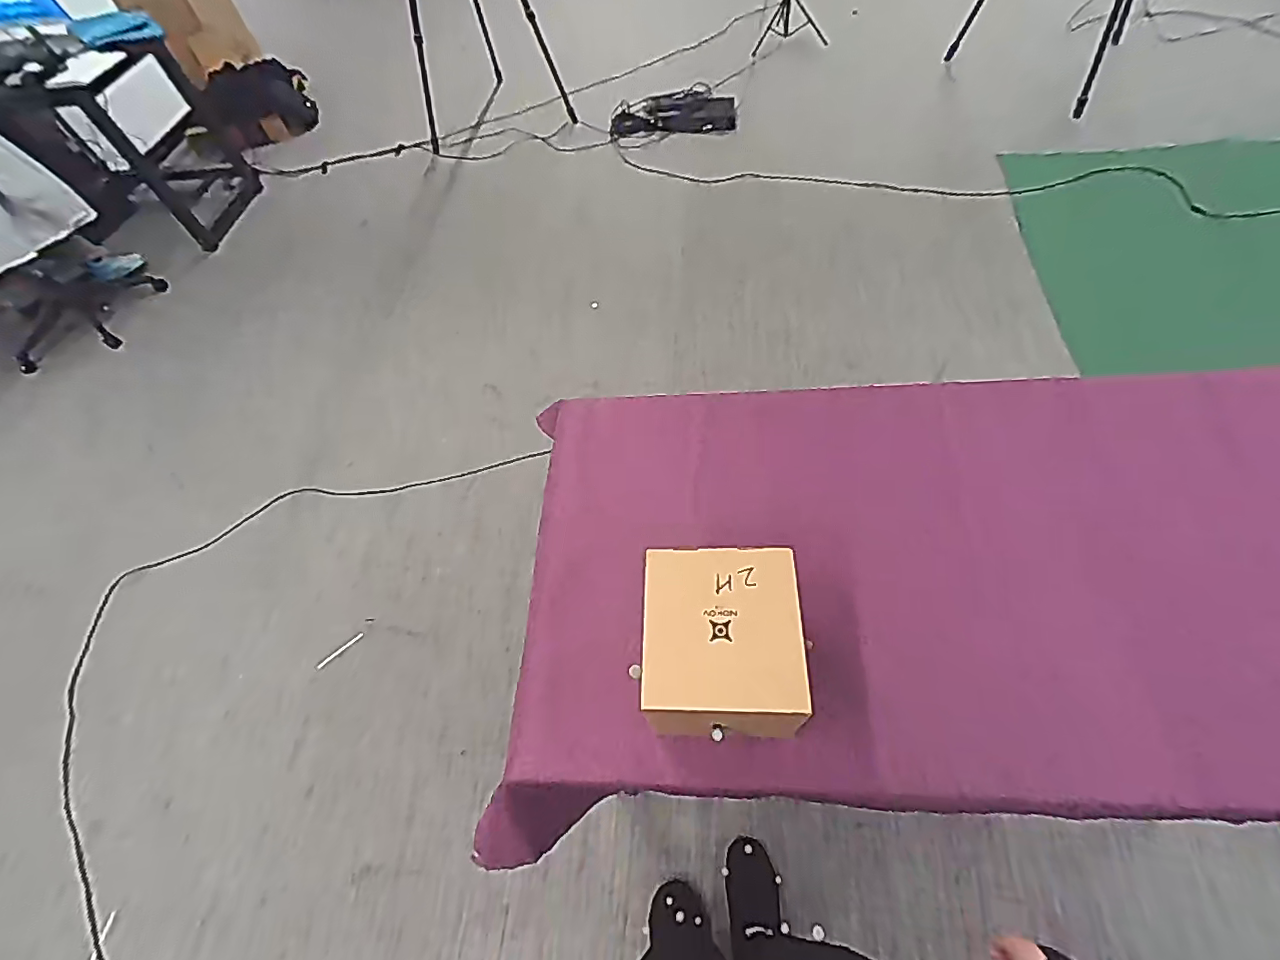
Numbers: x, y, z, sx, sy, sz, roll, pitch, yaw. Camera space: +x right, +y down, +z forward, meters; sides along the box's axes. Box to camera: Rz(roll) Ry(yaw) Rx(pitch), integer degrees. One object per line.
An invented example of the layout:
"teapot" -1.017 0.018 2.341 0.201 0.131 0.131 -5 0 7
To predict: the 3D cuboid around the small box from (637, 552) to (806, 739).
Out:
"small box" 0.092 0.198 0.632 0.168 0.176 0.179 -1 57 7
